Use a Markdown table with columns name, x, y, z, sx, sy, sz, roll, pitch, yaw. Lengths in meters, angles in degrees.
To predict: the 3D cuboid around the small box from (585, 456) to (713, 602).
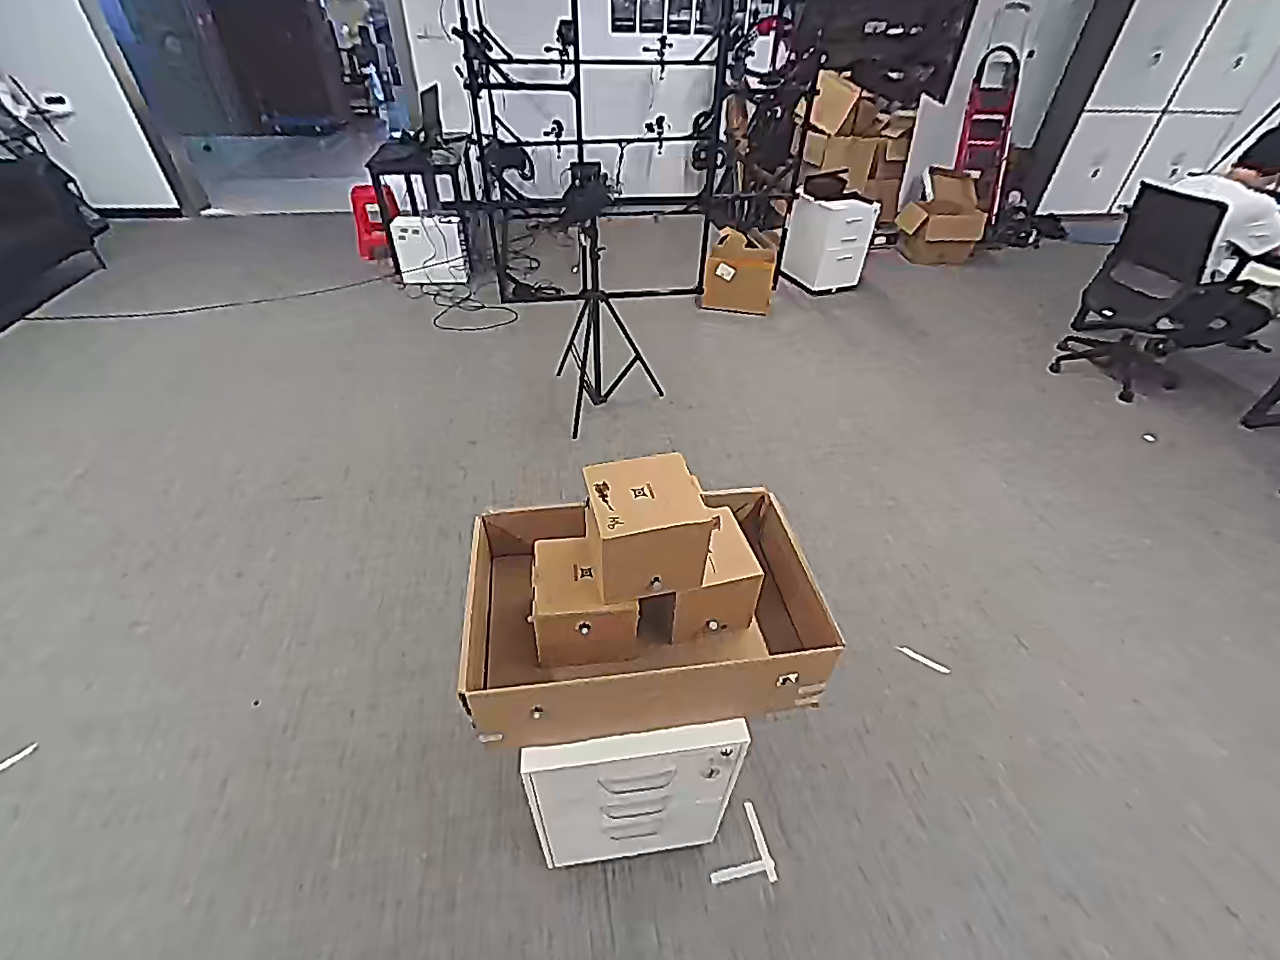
| name | x | y | z | sx | sy | sz | roll | pitch | yaw |
| --- | --- | --- | --- | --- | --- | --- | --- | --- | --- |
| small box | 0.006 | 0.083 | 0.915 | 0.179 | 0.176 | 0.168 | -8 | 43 | -12 |
